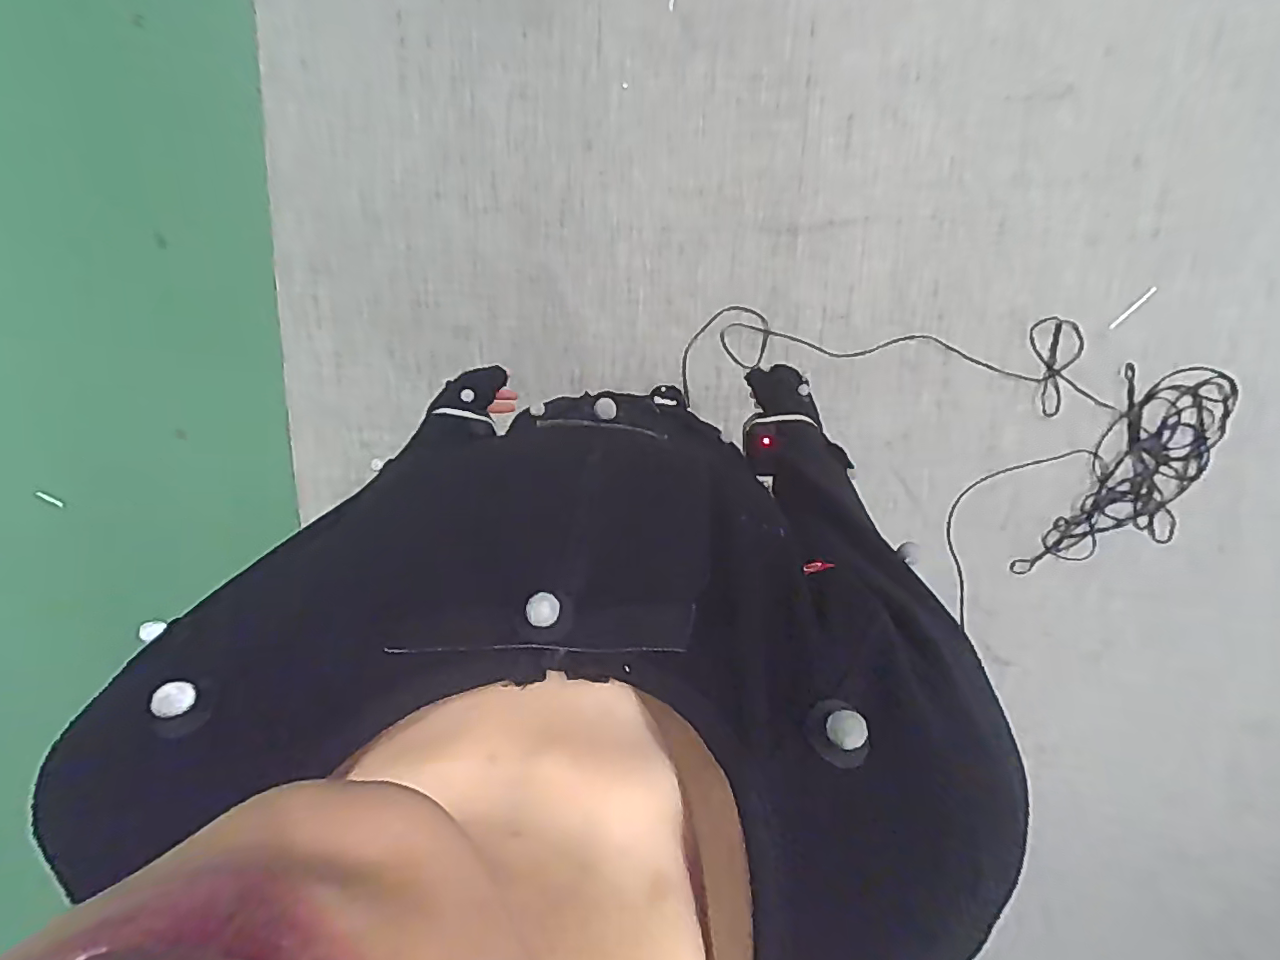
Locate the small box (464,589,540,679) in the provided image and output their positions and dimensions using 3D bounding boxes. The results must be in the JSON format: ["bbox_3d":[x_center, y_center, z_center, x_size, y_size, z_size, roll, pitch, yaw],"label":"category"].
[{"bbox_3d":[-0.371,0.416,1.478,0.168,0.176,0.179,4,100,1],"label":"small box"}]

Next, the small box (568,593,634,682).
[{"bbox_3d":[-0.103,0.425,1.472,0.168,0.176,0.179,1,99,0],"label":"small box"}]
